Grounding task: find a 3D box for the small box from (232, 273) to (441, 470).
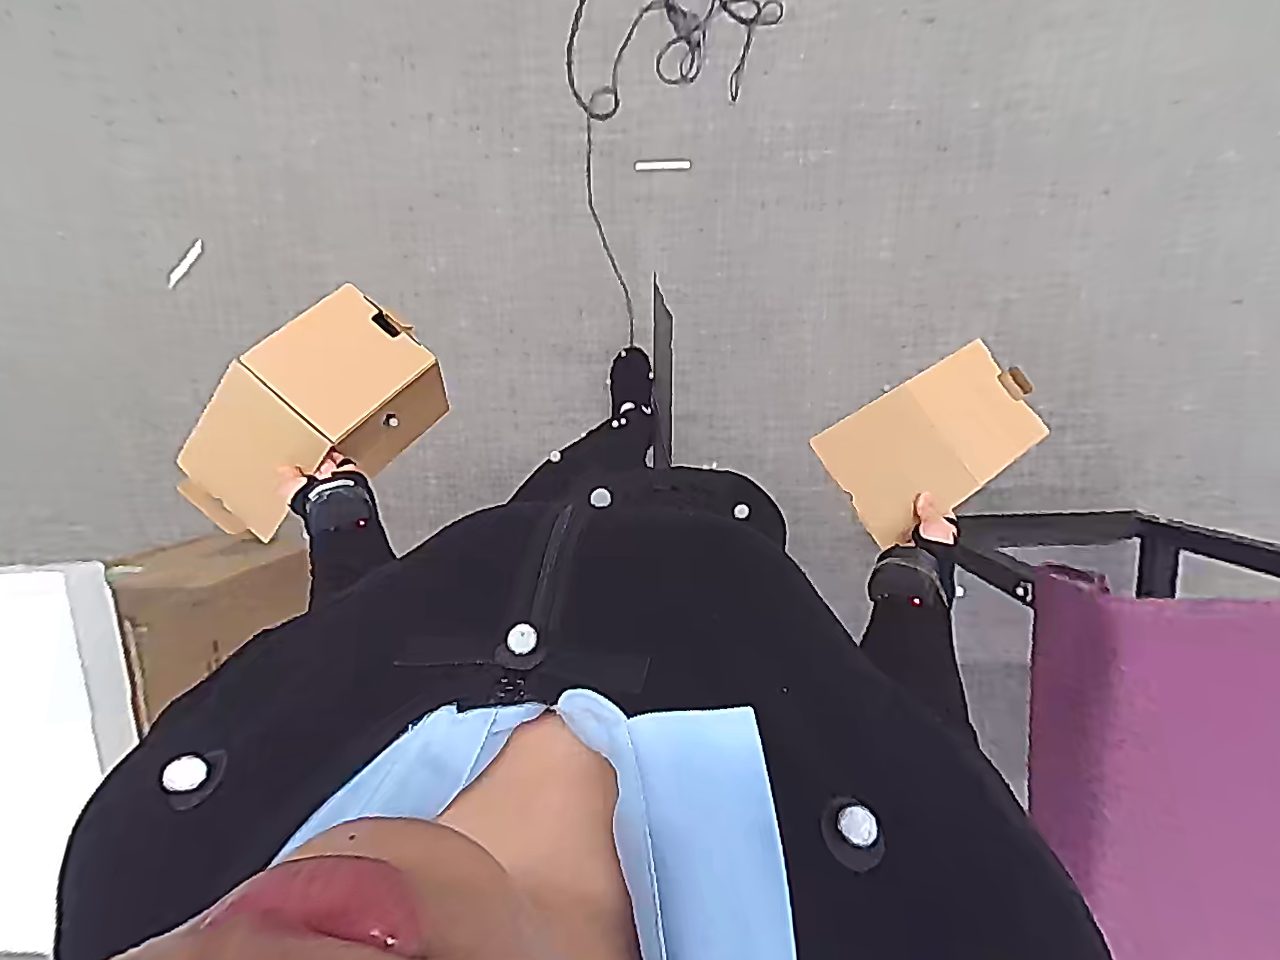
[{"bbox_3d":[-0.404,-0.141,0.761,0.168,0.176,0.179,42,68,1],"label":"small box"}]
